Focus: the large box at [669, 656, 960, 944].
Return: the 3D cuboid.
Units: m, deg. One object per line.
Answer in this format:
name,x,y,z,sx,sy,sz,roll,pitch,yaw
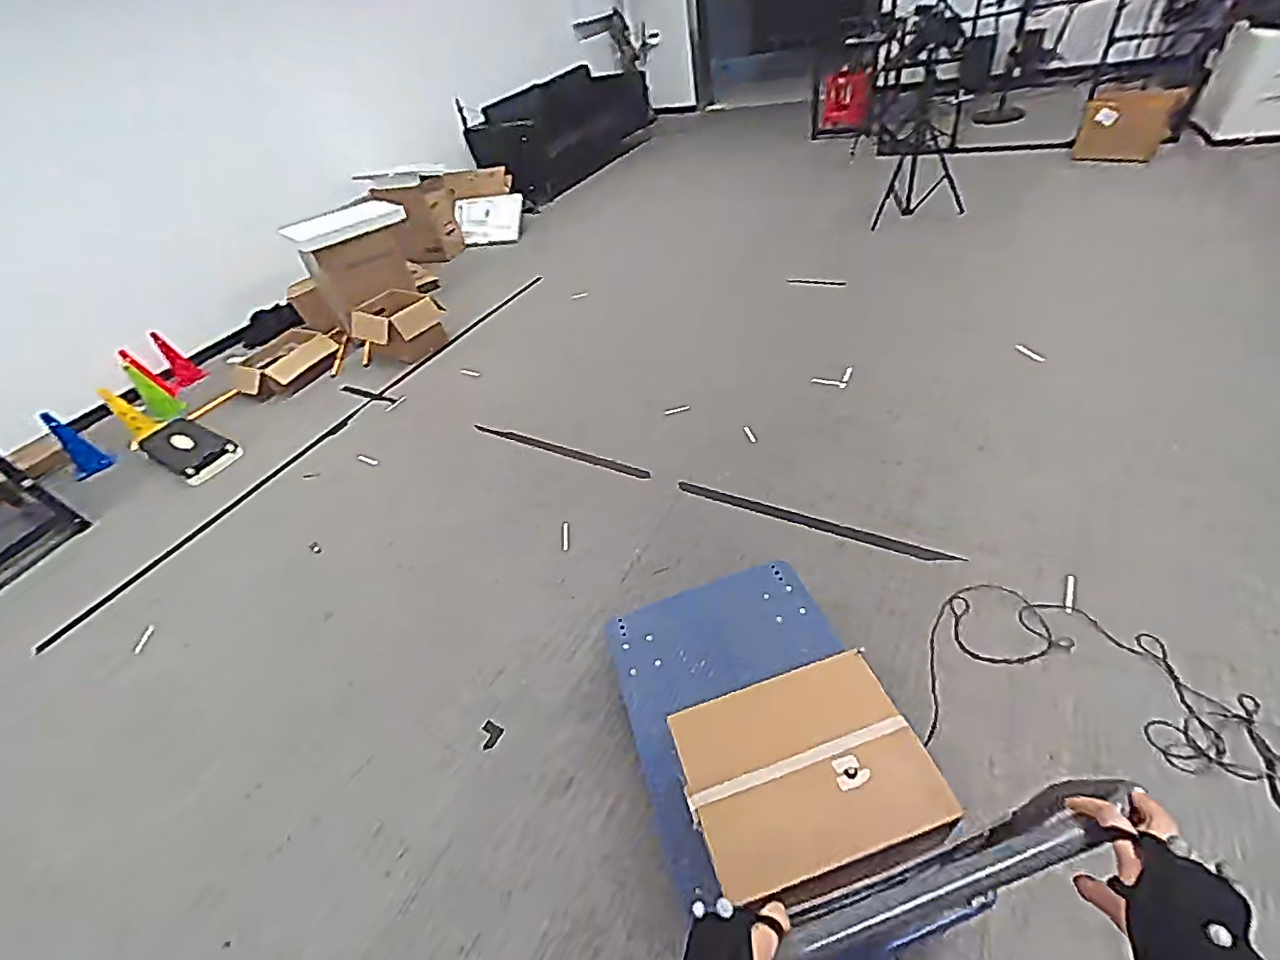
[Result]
large box,0.305,0.612,1.043,0.408,0.320,0.320,-17,43,-6
